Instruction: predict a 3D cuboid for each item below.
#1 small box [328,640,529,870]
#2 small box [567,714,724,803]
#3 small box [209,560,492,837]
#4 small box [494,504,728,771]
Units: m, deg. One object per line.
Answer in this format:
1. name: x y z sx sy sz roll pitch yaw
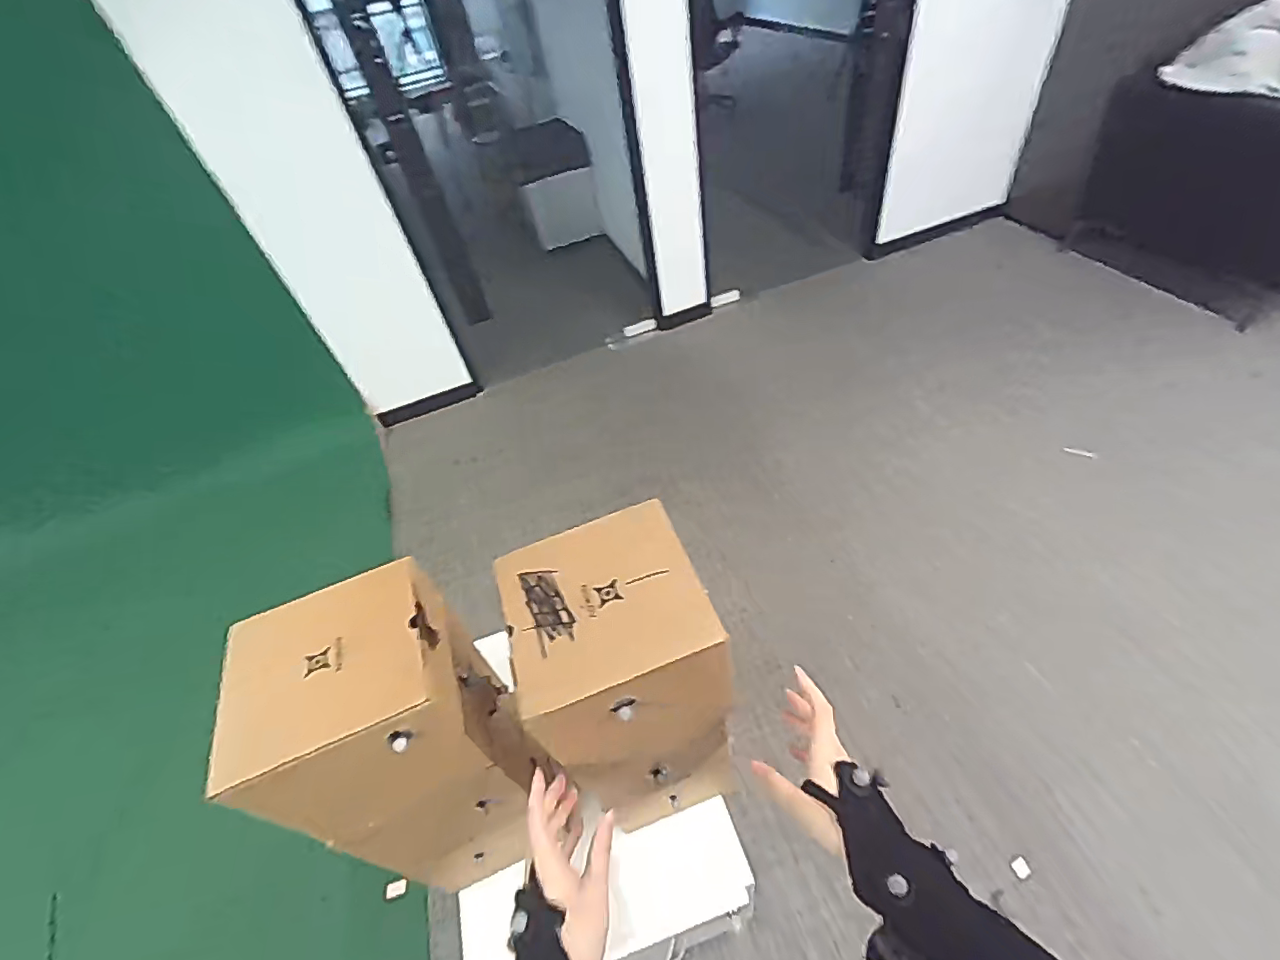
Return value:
1. small box: -0.246 0.331 0.652 0.179 0.176 0.168 -23 47 -11
2. small box: -0.005 0.268 0.659 0.168 0.176 0.179 -19 47 -6
3. small box: -0.269 0.218 0.537 0.179 0.176 0.168 -22 47 -11
4. small box: -0.024 0.159 0.537 0.179 0.176 0.168 -20 48 -7
